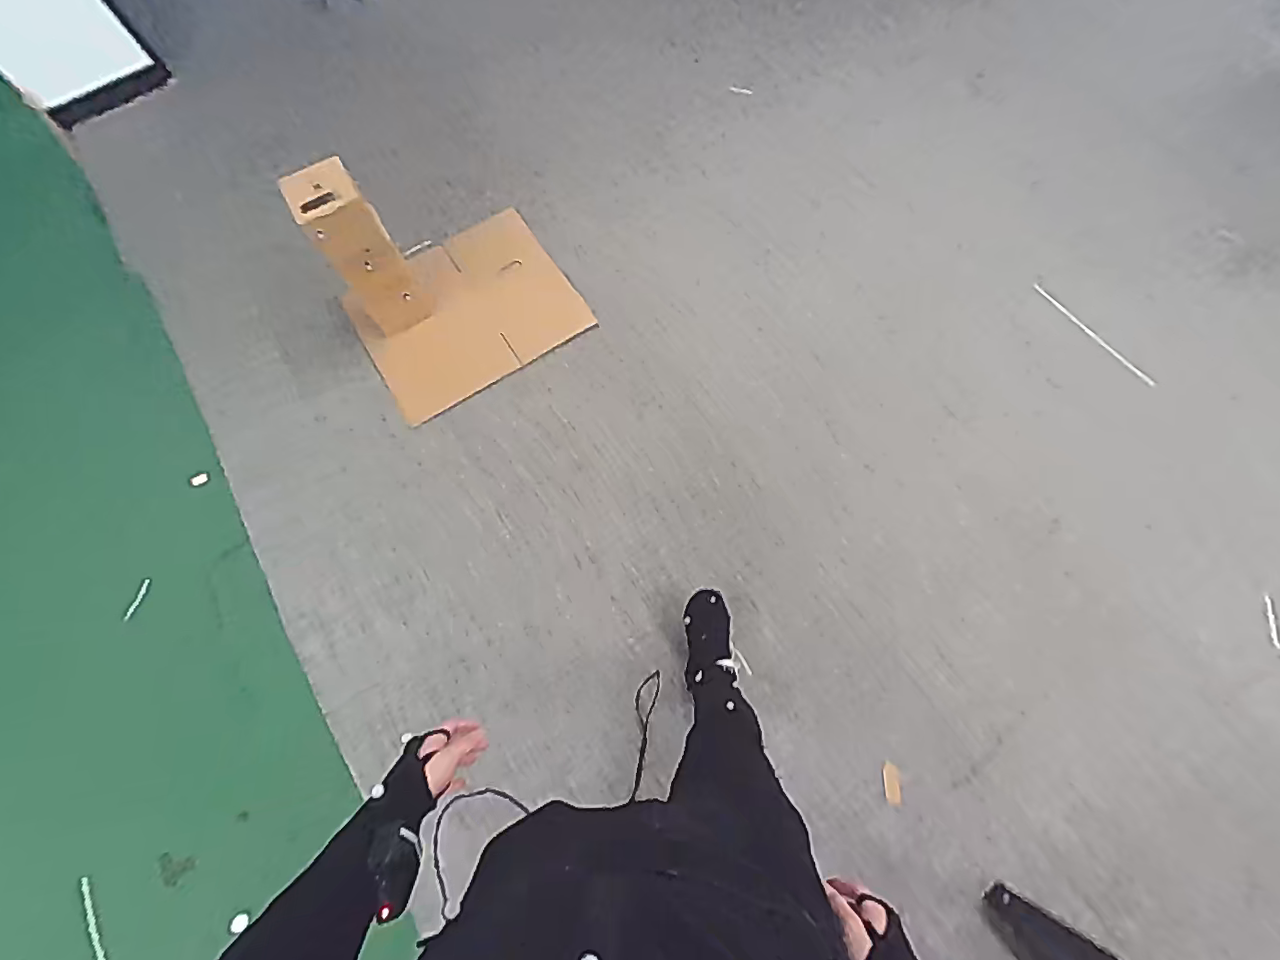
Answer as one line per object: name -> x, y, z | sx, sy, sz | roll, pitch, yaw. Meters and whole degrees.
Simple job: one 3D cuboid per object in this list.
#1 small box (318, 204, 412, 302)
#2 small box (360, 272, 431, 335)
small box -> -0.805, -0.668, 1.607 | 0.179, 0.176, 0.168 | -31, 73, -8
small box -> -0.805, -0.611, 1.758 | 0.179, 0.176, 0.168 | -31, 72, -8
